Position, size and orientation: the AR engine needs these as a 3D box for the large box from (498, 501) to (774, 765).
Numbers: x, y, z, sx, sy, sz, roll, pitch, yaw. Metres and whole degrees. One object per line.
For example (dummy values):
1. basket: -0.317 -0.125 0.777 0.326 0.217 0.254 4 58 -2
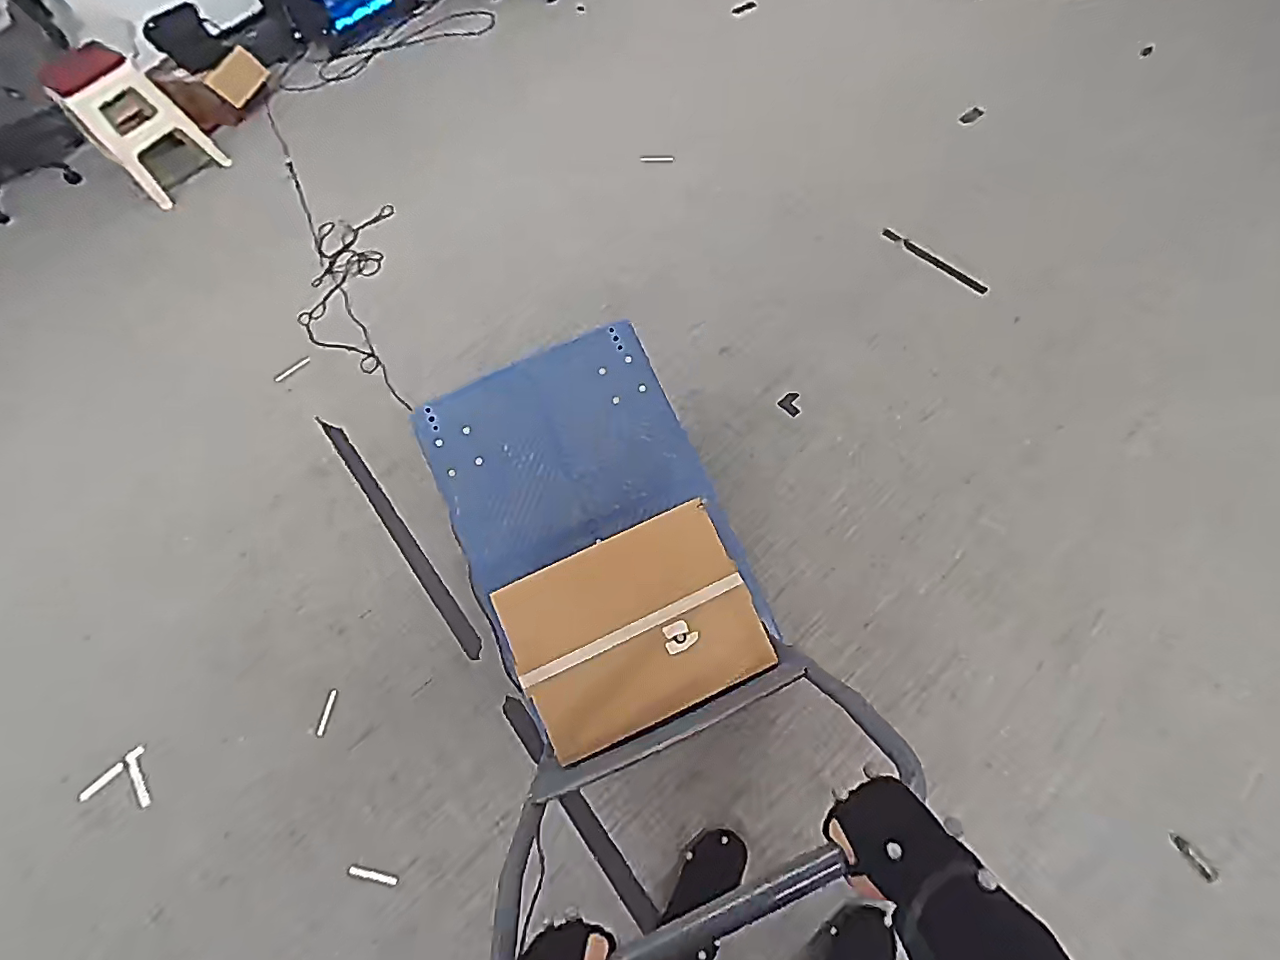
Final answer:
1. large box: -0.011 0.283 1.086 0.408 0.320 0.320 -25 83 -5
